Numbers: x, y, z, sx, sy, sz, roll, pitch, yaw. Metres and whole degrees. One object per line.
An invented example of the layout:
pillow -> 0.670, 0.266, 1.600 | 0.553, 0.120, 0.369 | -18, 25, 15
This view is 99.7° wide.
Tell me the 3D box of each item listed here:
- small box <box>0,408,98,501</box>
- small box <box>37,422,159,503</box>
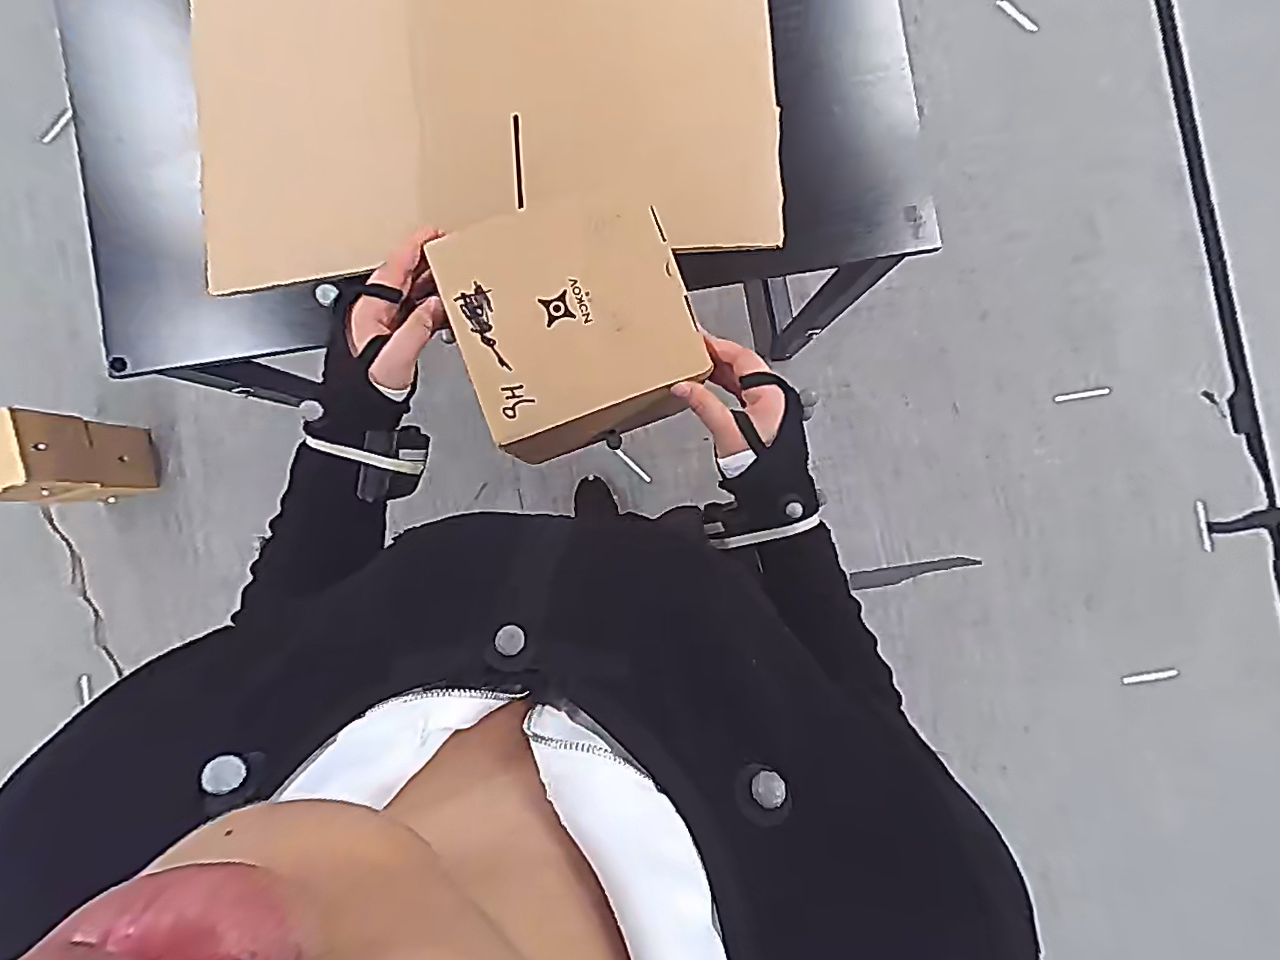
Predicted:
small box -> -1.423, -0.052, 1.251 | 0.168, 0.176, 0.179 | -16, 88, -1
small box -> -1.423, -0.042, 1.414 | 0.168, 0.176, 0.179 | -13, 90, -1
